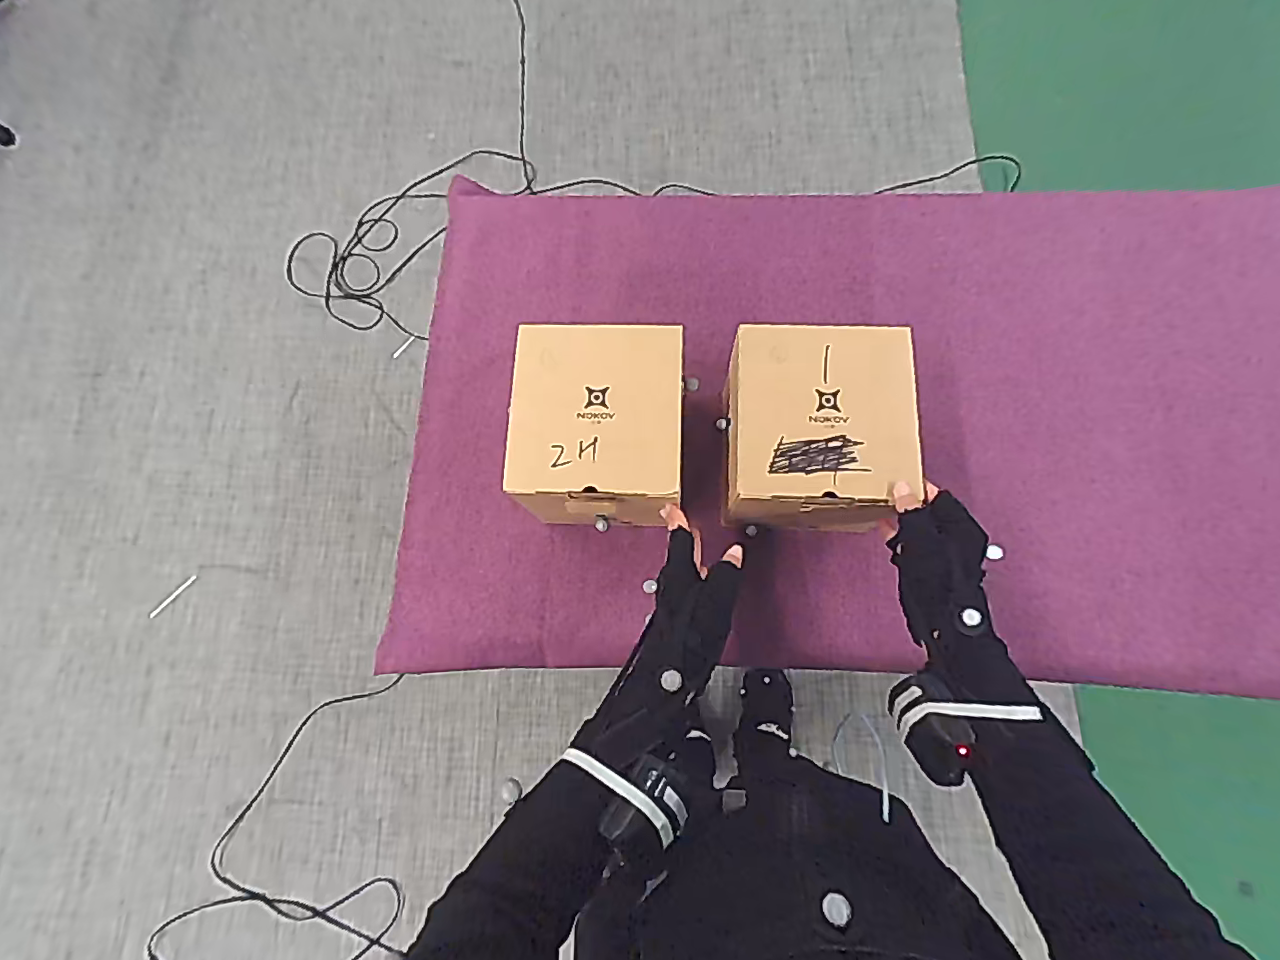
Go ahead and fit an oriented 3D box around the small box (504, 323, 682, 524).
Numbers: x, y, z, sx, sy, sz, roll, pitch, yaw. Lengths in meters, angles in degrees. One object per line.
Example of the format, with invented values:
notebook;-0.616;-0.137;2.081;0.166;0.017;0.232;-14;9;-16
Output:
small box;-0.040;-0.054;0.598;0.168;0.176;0.179;1;77;4

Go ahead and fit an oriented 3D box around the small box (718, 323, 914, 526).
small box;0.174;-0.049;0.584;0.168;0.176;0.179;2;76;4
